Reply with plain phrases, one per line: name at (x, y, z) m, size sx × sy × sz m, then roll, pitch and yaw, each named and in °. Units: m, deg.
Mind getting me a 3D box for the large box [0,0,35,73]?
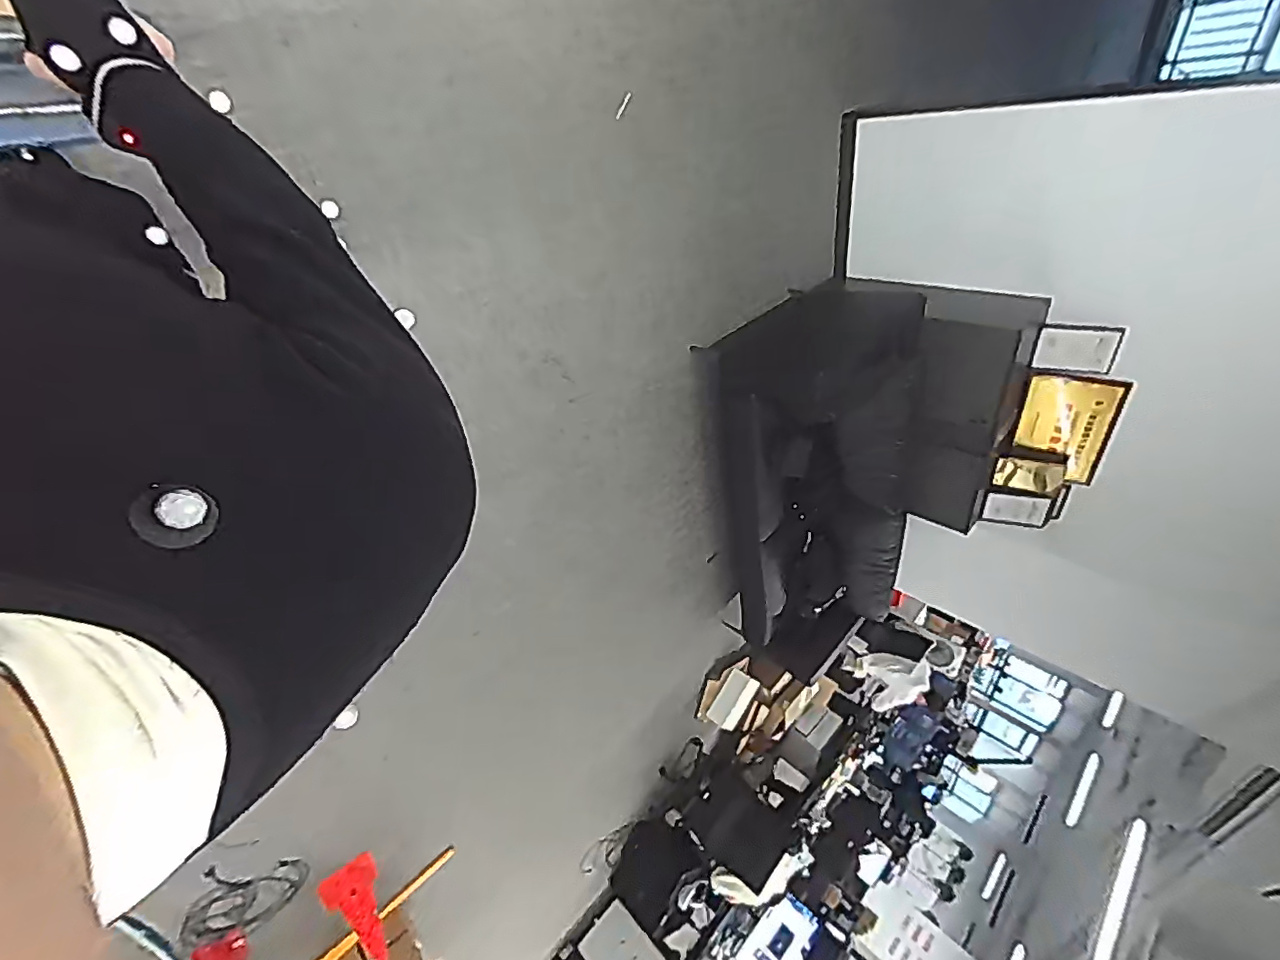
large box at (-1.014, -0.713, 0.601) m, size 0.320 × 0.320 × 0.408 m, roll -33°, pitch 131°, yaw -34°
